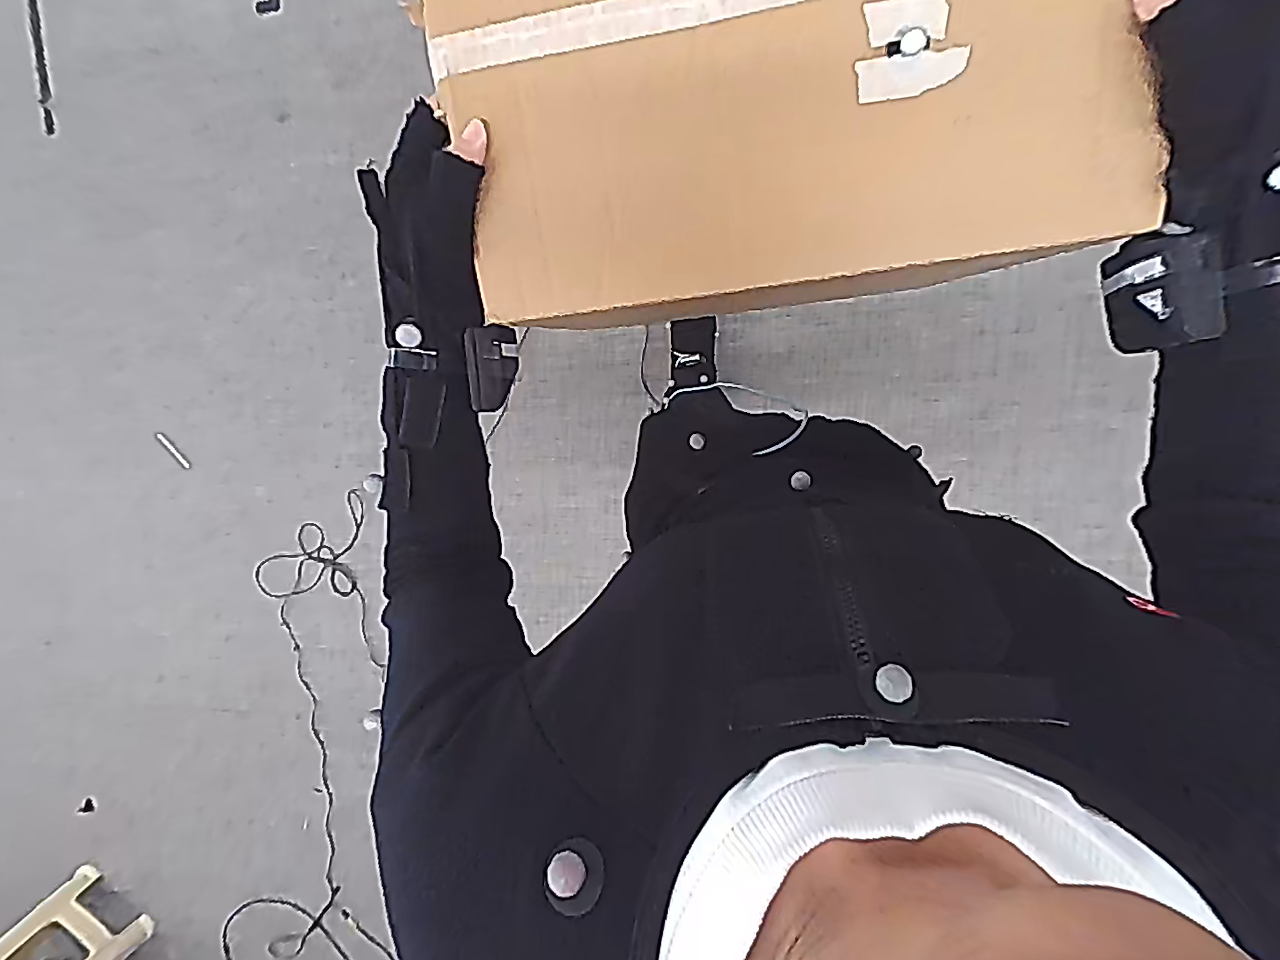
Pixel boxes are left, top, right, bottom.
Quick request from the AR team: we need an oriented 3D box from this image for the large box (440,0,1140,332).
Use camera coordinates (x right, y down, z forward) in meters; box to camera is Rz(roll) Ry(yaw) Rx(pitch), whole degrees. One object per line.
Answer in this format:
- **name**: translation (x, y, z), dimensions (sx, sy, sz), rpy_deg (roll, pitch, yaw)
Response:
- **large box**: translation (0.089, -0.317, 0.461), dimensions (0.408, 0.320, 0.320), rpy_deg (-6, 104, 7)
